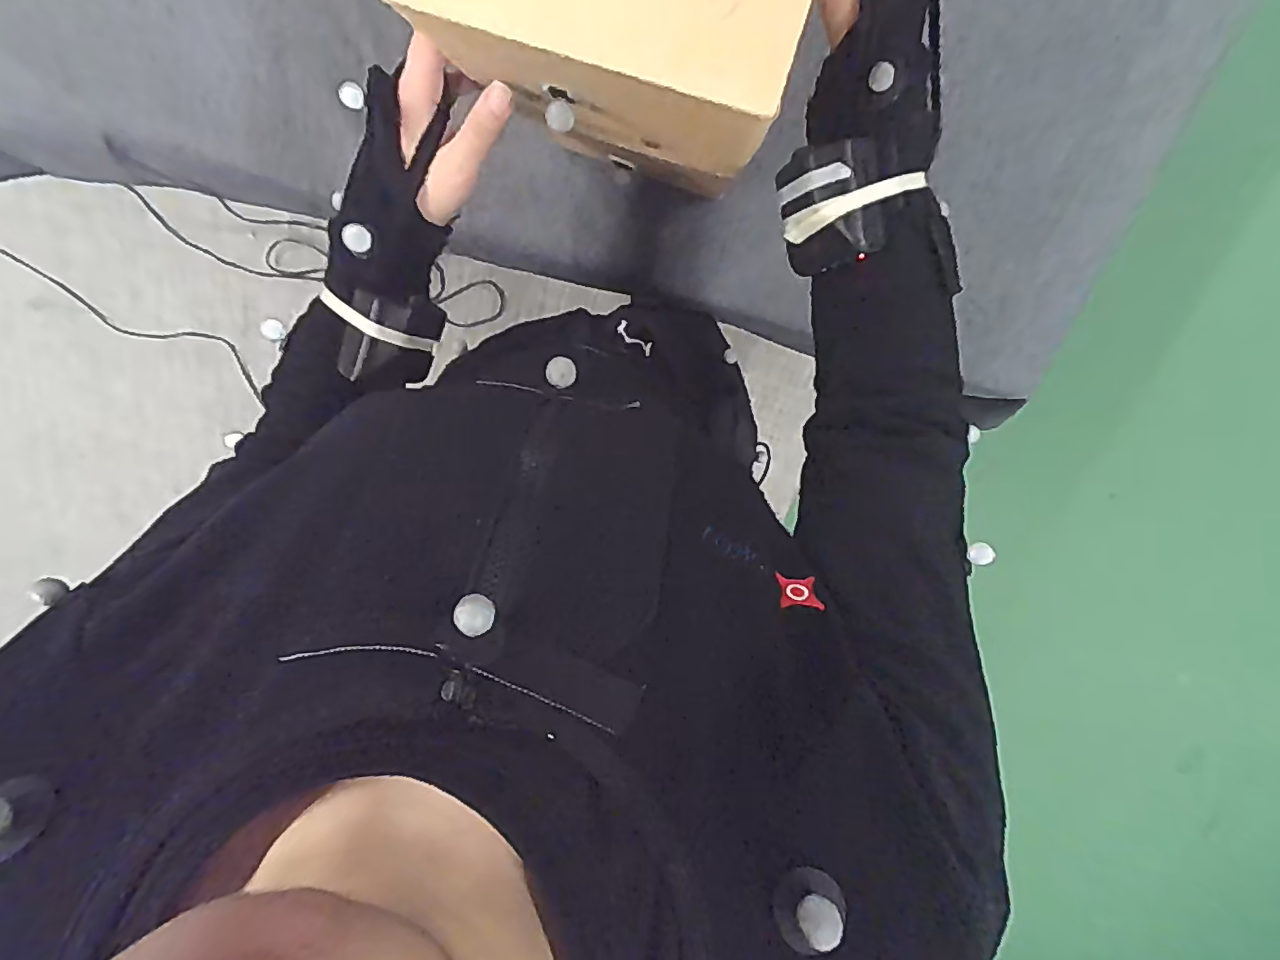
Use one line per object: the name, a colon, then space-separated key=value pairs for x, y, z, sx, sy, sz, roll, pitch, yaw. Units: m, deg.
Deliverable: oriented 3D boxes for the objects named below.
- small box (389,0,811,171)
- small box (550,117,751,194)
small box: x=0.006 y=-0.270 z=0.254 sx=0.168 sy=0.176 sz=0.179 roll=16 pitch=111 yaw=-2
small box: x=0.023 y=-0.336 z=0.402 sx=0.168 sy=0.176 sz=0.179 roll=17 pitch=113 yaw=-2
